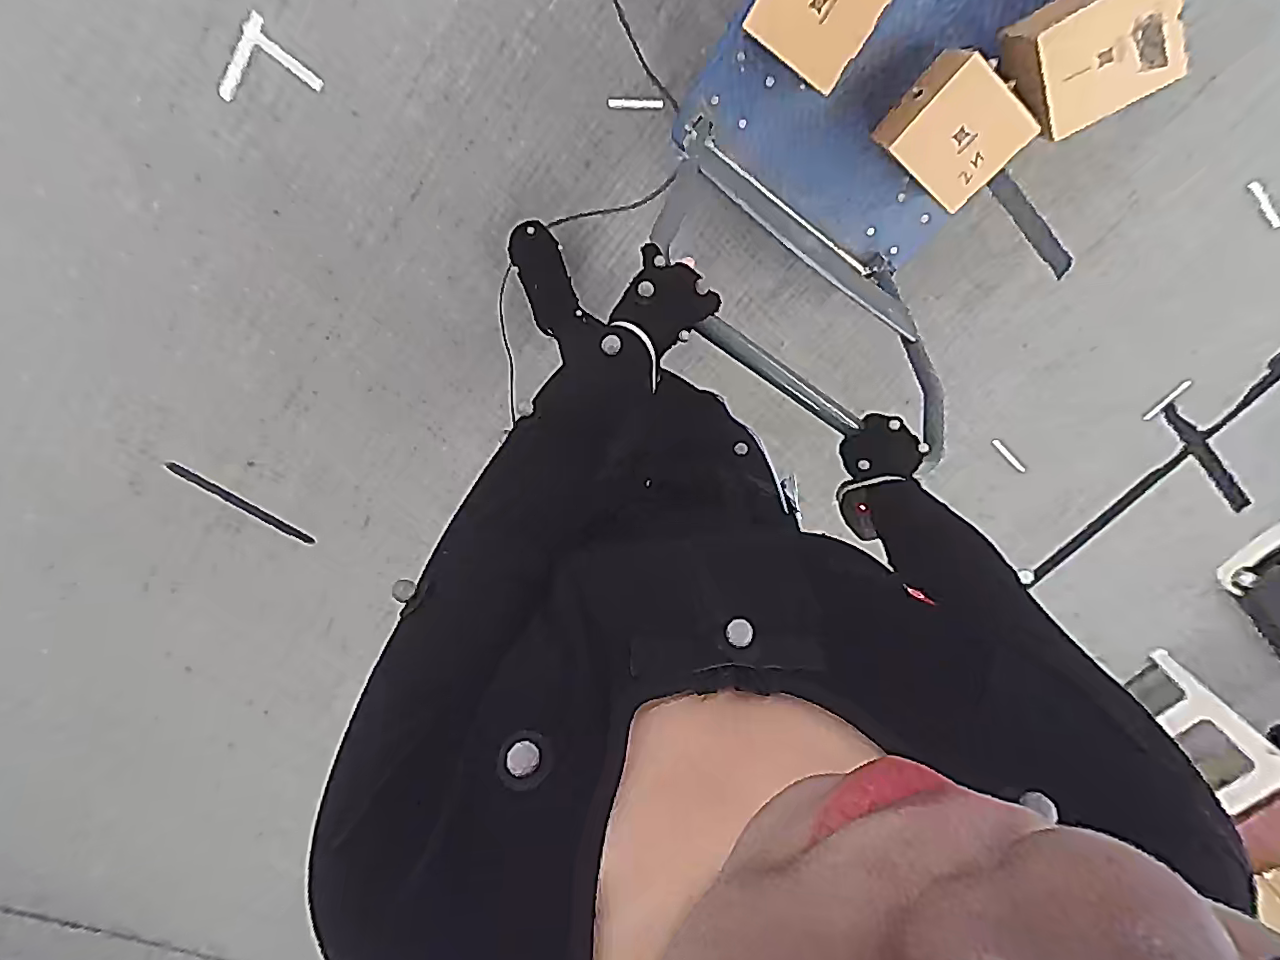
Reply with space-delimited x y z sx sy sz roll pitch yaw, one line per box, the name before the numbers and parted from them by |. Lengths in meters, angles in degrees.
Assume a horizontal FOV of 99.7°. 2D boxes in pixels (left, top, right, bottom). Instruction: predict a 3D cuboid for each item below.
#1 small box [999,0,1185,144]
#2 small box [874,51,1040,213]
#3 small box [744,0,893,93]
small box | 0.720 -0.687 0.873 0.179 0.176 0.168 -21 122 26
small box | 0.548 -0.616 0.961 0.179 0.176 0.168 33 127 -17
small box | 0.284 -0.772 0.880 0.179 0.176 0.168 28 128 -15
